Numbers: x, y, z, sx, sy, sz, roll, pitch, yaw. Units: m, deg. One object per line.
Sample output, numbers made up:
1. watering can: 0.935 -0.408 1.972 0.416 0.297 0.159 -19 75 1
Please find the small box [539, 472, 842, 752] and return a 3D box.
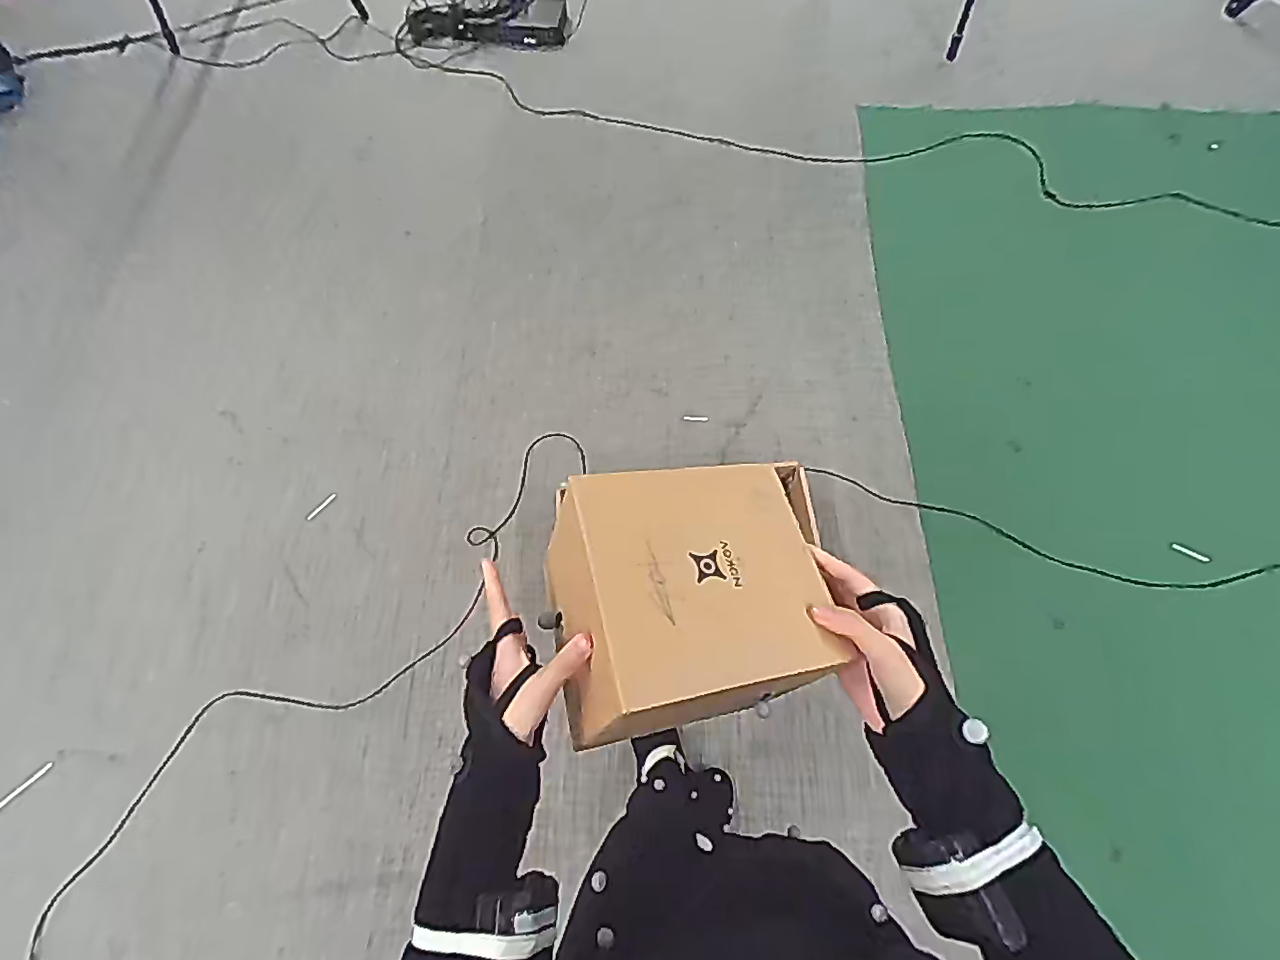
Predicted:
1. small box: 0.022 0.109 0.447 0.179 0.176 0.168 -4 58 -20
